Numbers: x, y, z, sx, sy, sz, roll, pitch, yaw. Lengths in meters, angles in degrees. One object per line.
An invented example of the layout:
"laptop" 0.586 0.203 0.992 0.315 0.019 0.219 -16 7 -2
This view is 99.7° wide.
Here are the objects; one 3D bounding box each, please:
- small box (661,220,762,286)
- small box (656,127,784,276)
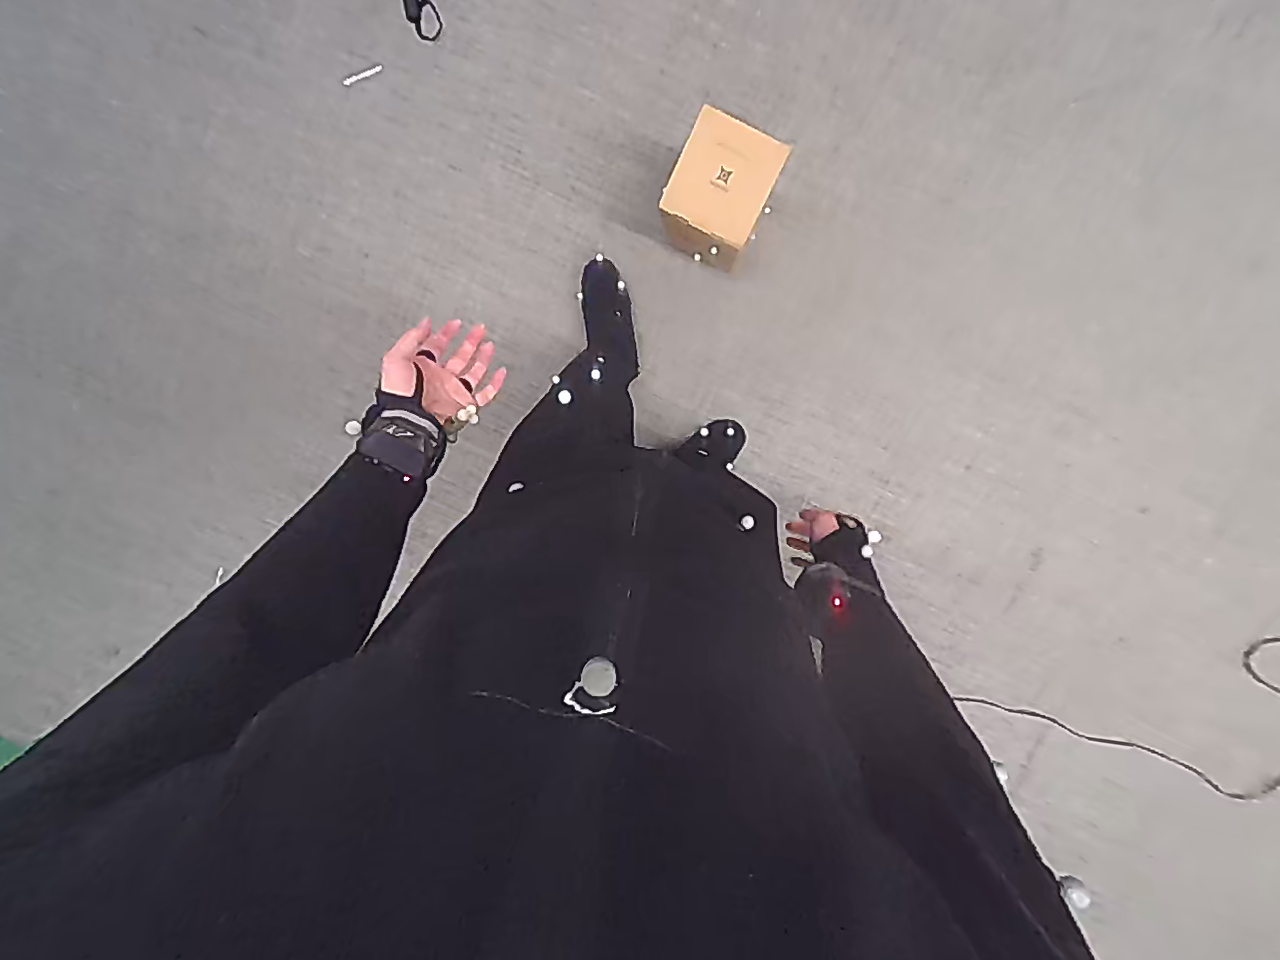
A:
"small box" 0.160 -0.539 1.168 0.168 0.176 0.179 26 105 0
"small box" 0.143 -0.502 1.008 0.168 0.176 0.179 25 103 -2
